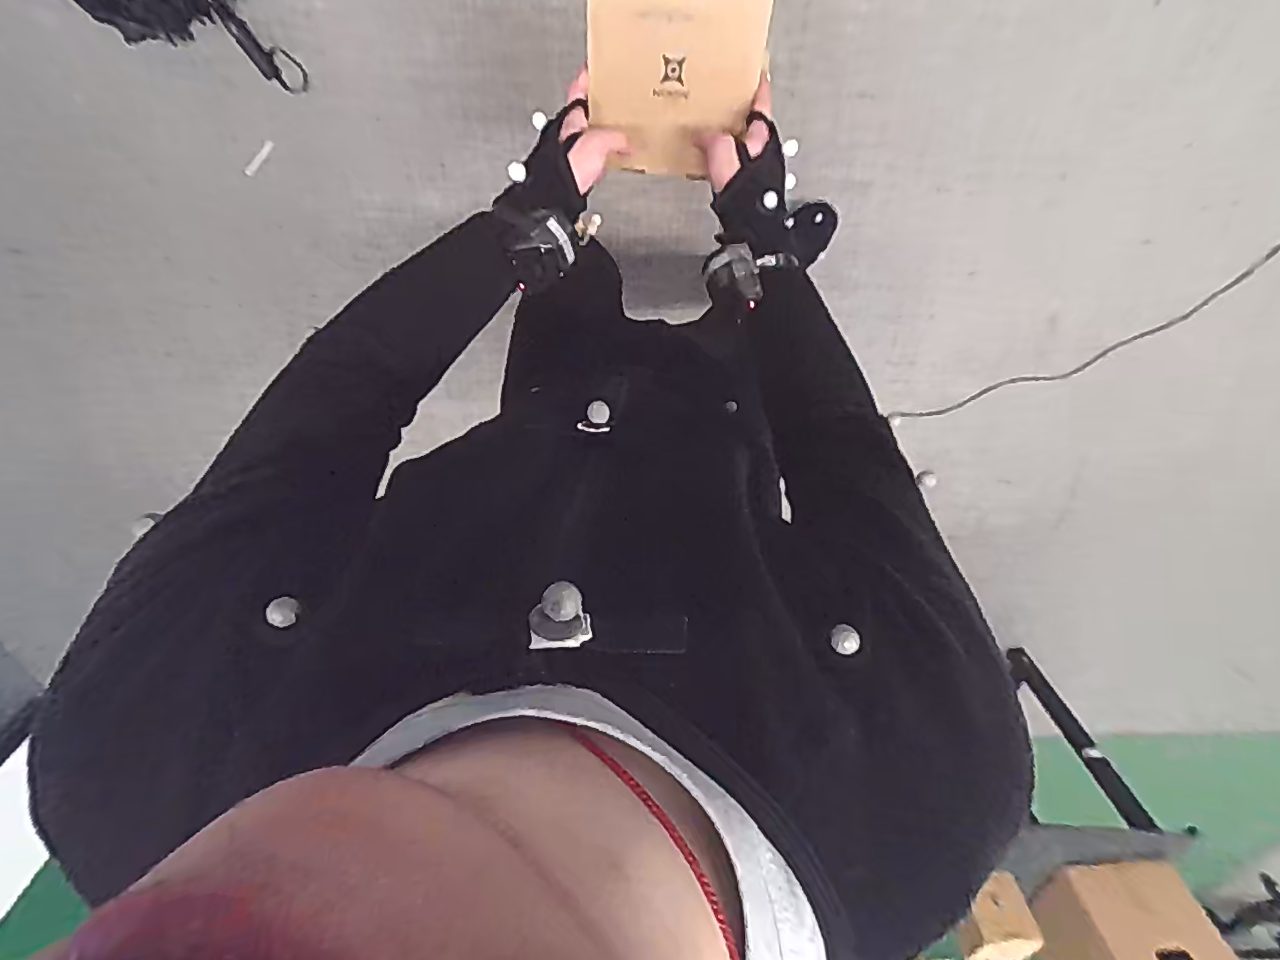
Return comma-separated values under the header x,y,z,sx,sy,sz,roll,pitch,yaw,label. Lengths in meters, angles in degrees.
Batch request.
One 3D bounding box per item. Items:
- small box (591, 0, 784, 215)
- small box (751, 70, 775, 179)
x,y,z,sx,sy,sz,roll,pitch,yaw,label
0.042,-0.405,0.563,0.168,0.176,0.179,5,137,1,small box
0.160,-0.710,1.082,0.168,0.176,0.179,0,125,0,small box
